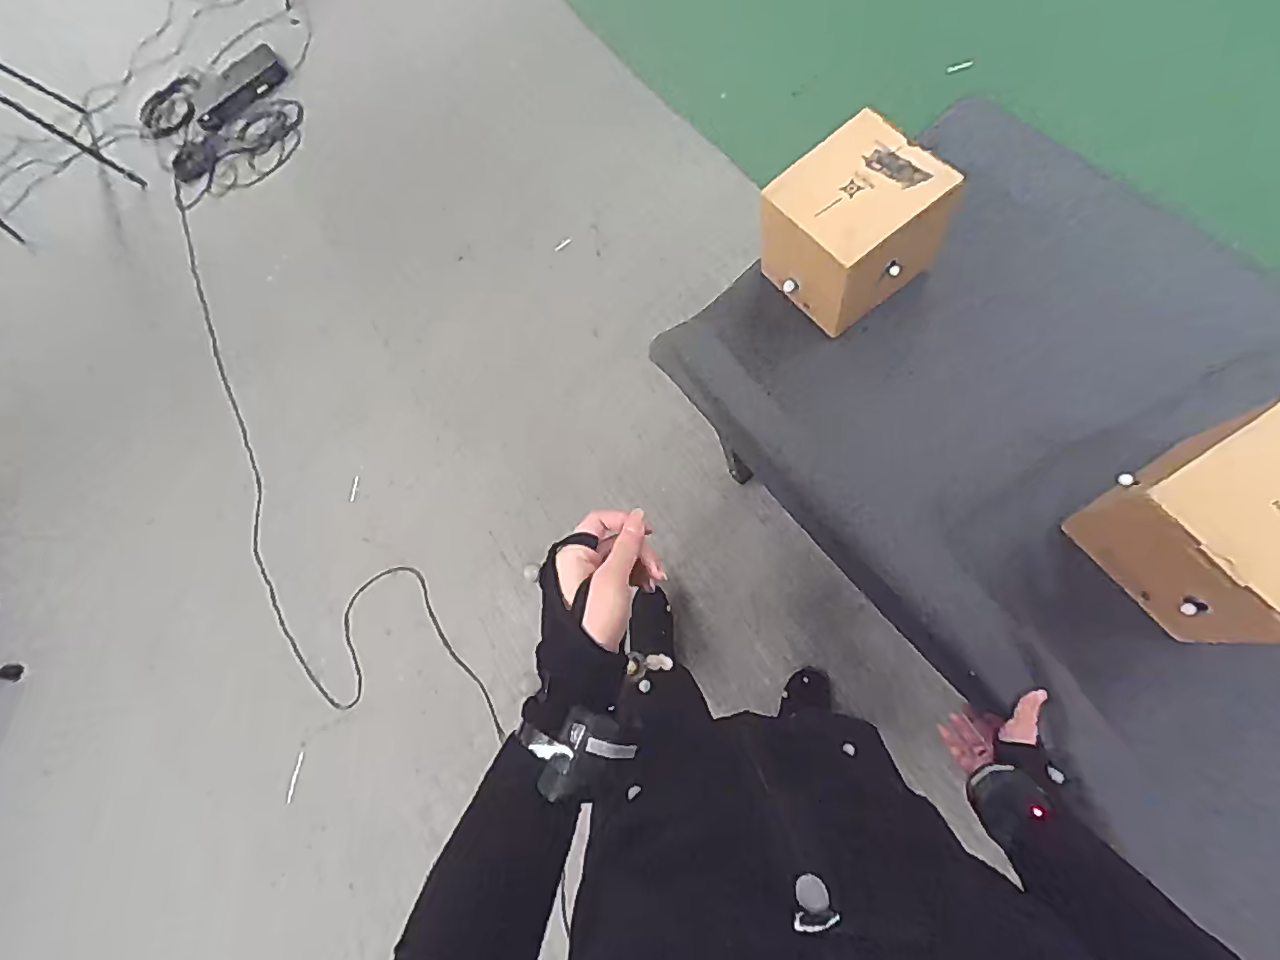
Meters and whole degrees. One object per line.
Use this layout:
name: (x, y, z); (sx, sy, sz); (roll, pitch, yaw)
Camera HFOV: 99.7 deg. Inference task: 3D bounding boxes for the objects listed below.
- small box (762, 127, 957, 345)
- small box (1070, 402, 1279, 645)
small box: (0.286, -0.326, 0.750); (0.179, 0.176, 0.168); (-38, 69, 1)
small box: (0.605, 0.057, 0.566); (0.179, 0.176, 0.168); (-36, 71, 1)
